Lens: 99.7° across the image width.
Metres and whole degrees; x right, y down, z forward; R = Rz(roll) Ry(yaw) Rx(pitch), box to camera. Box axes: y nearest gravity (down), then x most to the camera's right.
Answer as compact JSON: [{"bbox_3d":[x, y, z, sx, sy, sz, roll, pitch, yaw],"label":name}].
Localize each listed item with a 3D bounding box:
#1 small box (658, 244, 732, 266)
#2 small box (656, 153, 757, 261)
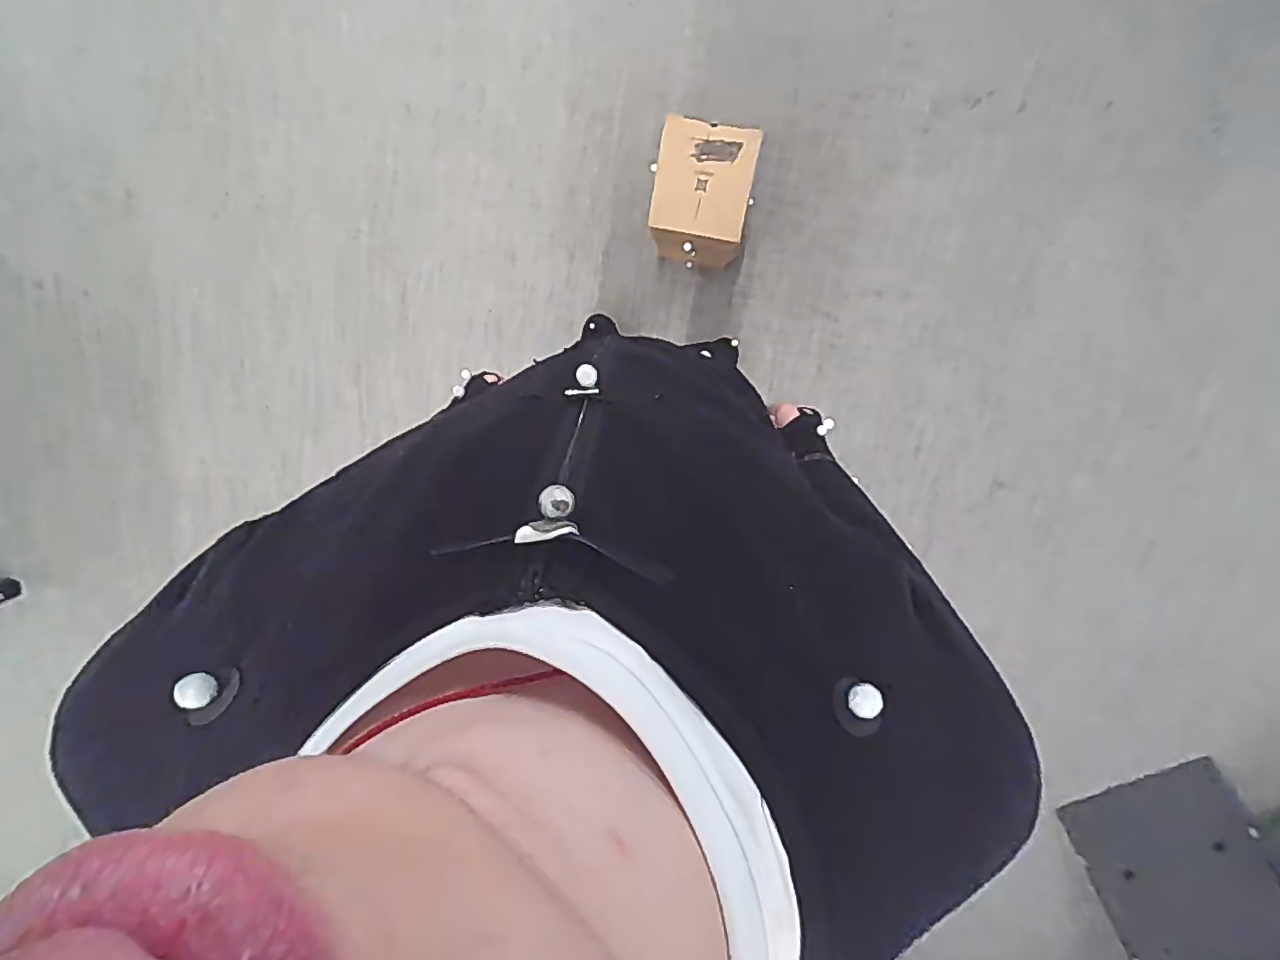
[{"bbox_3d":[0.143,-0.623,1.313,0.179,0.176,0.168,11,107,0],"label":"small box"},{"bbox_3d":[0.135,-0.573,1.158,0.179,0.176,0.168,10,107,-1],"label":"small box"}]
